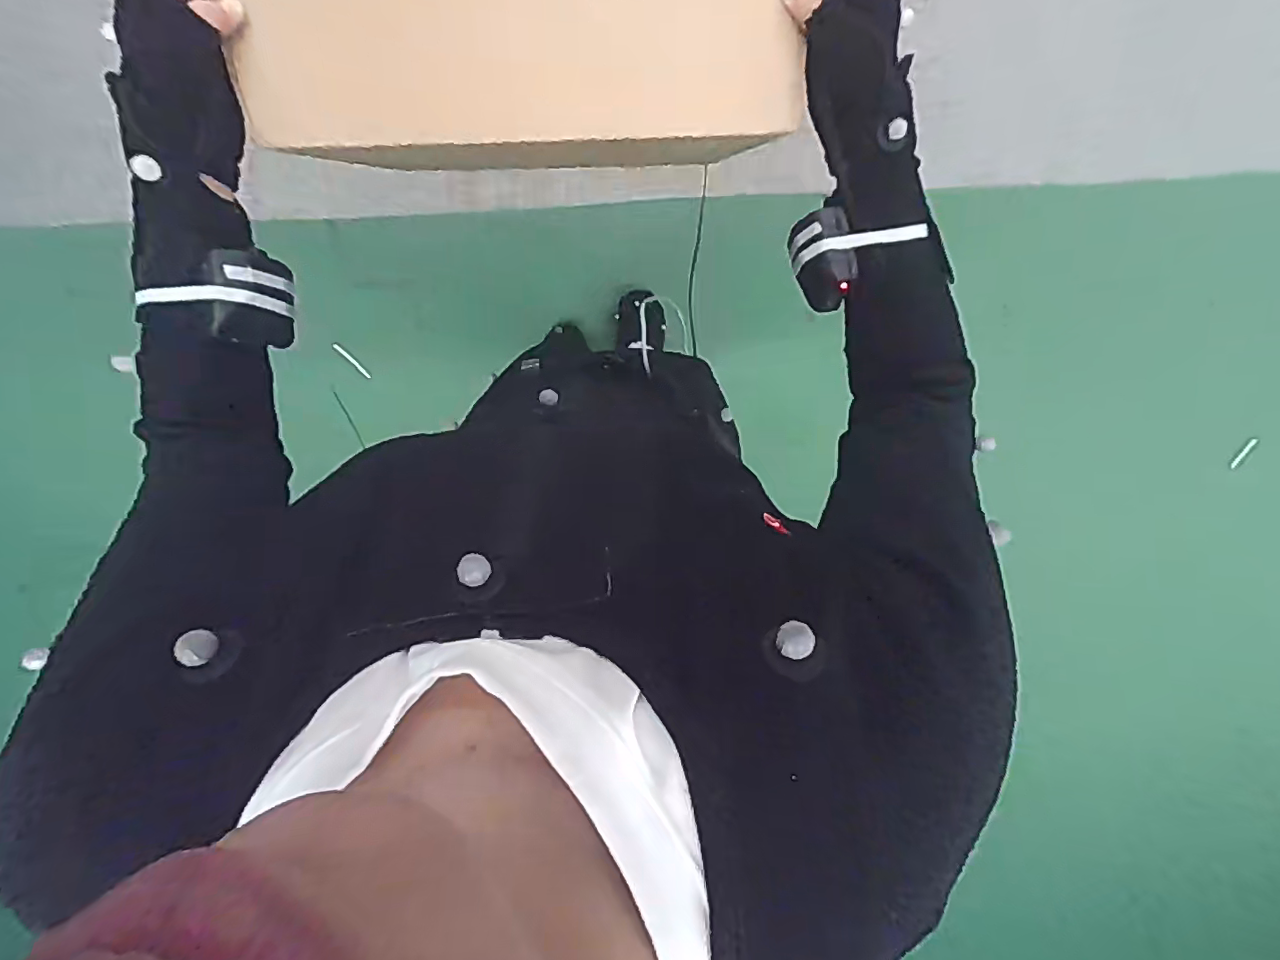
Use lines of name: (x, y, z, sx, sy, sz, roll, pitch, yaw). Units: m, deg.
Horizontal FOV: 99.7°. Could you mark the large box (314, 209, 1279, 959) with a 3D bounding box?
large box: (0.113, 0.108, 0.332, 0.320, 0.320, 0.408, 9, 70, 27)
